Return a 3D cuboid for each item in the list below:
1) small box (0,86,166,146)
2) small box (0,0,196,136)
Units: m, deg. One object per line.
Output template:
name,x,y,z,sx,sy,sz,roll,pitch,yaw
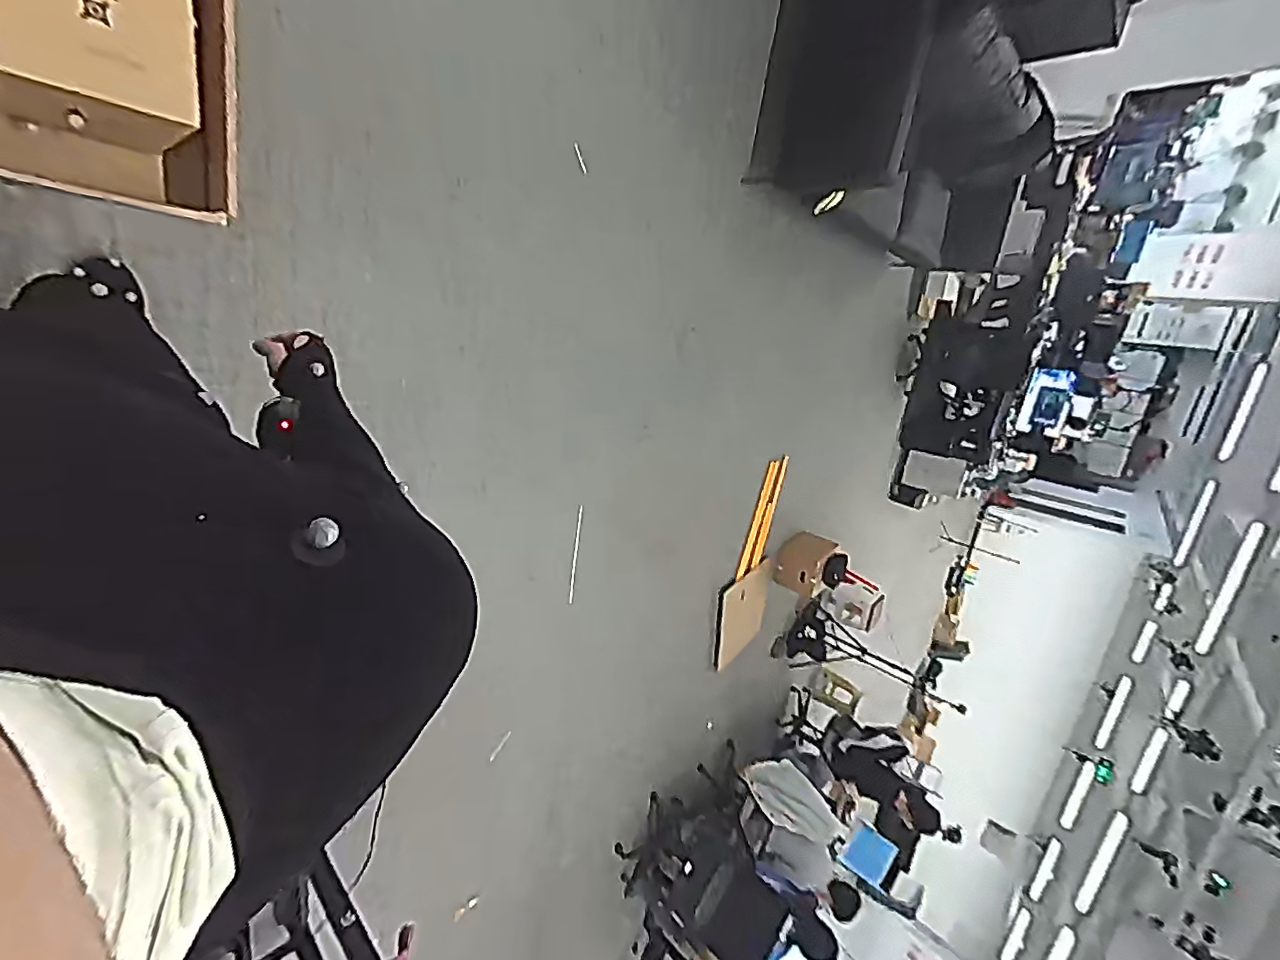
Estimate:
small box,-0.745,-0.566,0.710,0.168,0.176,0.179,-7,111,-48
small box,-0.625,-0.519,0.608,0.168,0.176,0.179,-8,113,-47
